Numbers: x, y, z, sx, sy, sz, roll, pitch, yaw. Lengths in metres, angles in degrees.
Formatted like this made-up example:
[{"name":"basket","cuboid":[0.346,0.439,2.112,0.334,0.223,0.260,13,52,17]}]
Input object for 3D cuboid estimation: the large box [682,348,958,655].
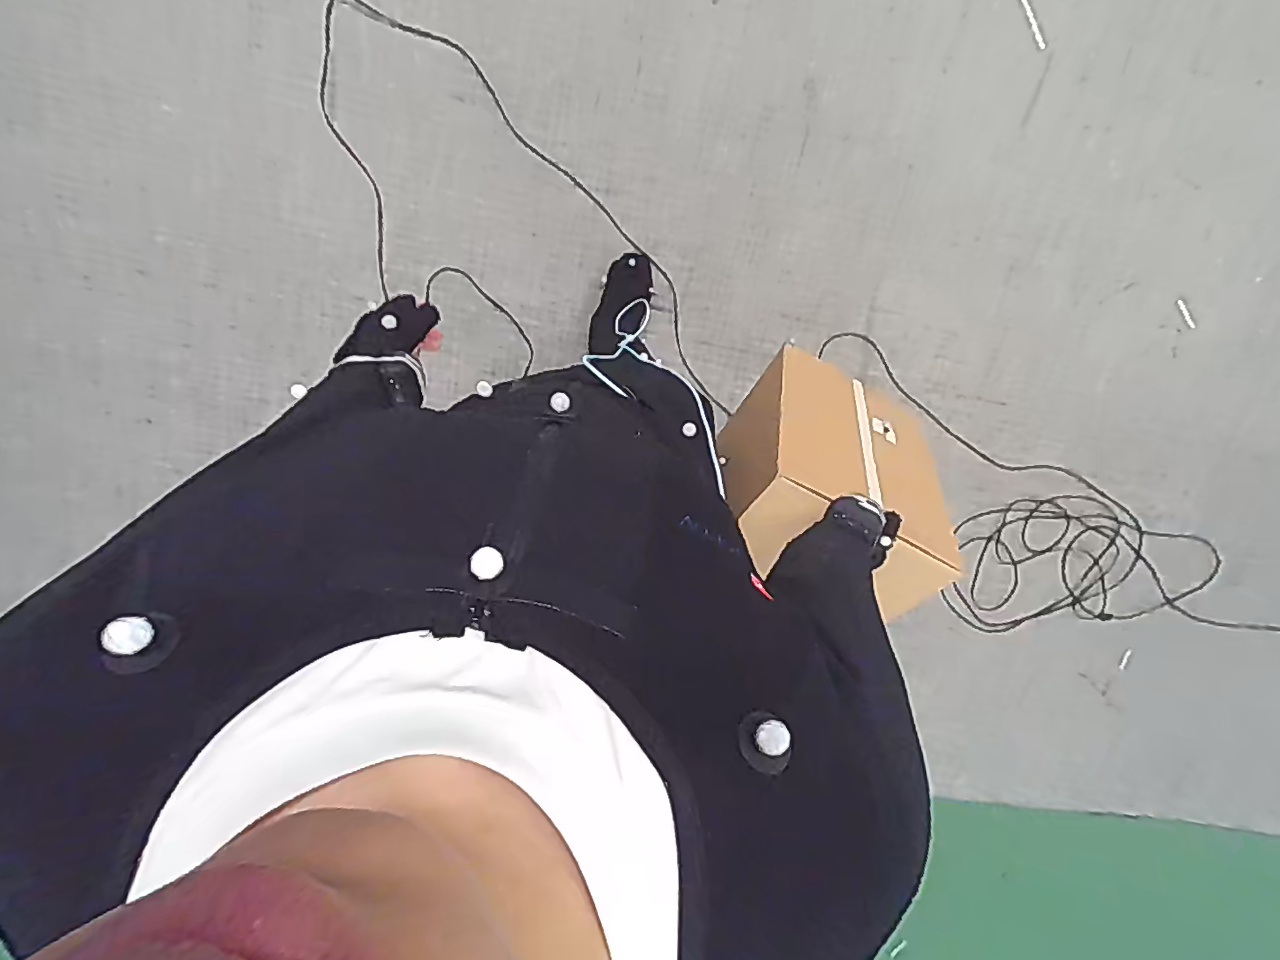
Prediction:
[{"name":"large box","cuboid":[0.302,0.035,0.998,0.320,0.408,0.320,28,131,-7]}]
